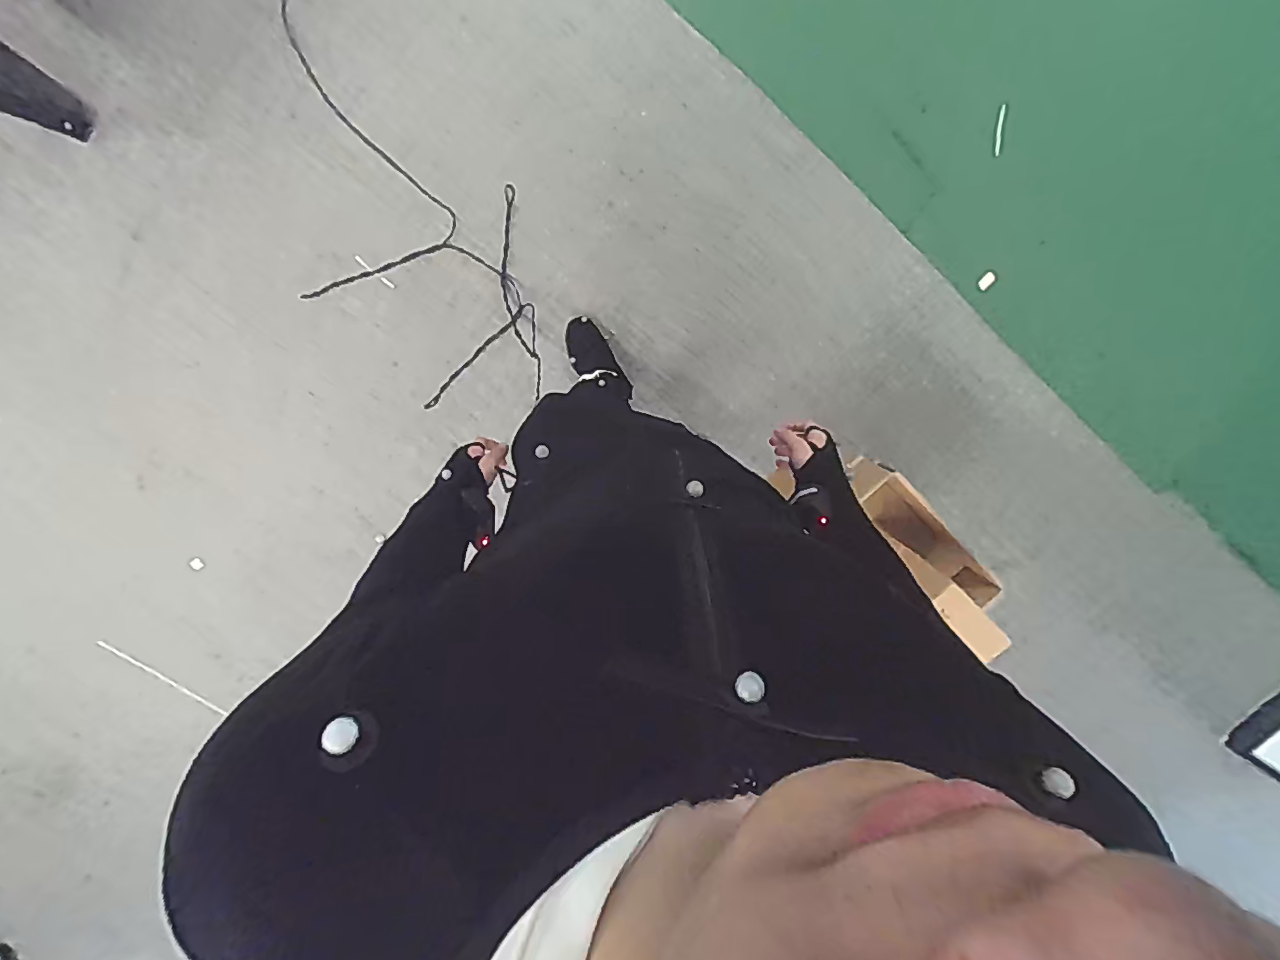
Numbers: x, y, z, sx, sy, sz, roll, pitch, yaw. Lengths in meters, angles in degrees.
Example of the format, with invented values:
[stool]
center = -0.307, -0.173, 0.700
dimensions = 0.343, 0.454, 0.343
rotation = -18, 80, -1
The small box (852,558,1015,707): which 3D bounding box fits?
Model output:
[small box]
center = 0.542, 0.278, 1.023
dimensions = 0.179, 0.176, 0.168
rotation = 43, 99, -10
